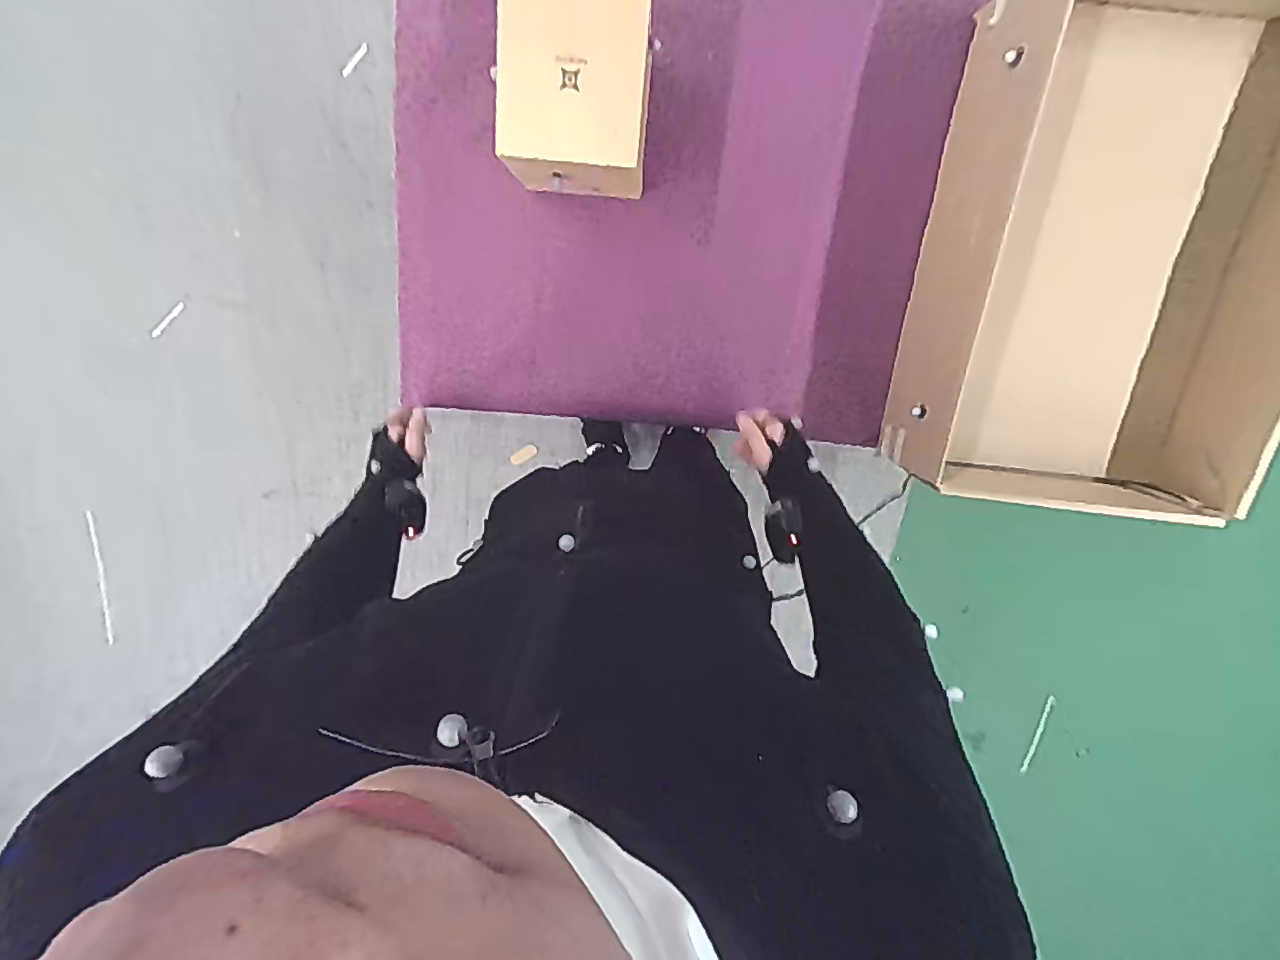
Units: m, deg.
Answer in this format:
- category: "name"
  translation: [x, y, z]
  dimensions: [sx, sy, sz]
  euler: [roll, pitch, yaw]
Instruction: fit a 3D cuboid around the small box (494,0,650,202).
- category: "small box"
  translation: [-0.077, -0.464, 0.677]
  dimensions: [0.168, 0.176, 0.179]
  euler: [5, 104, 0]
